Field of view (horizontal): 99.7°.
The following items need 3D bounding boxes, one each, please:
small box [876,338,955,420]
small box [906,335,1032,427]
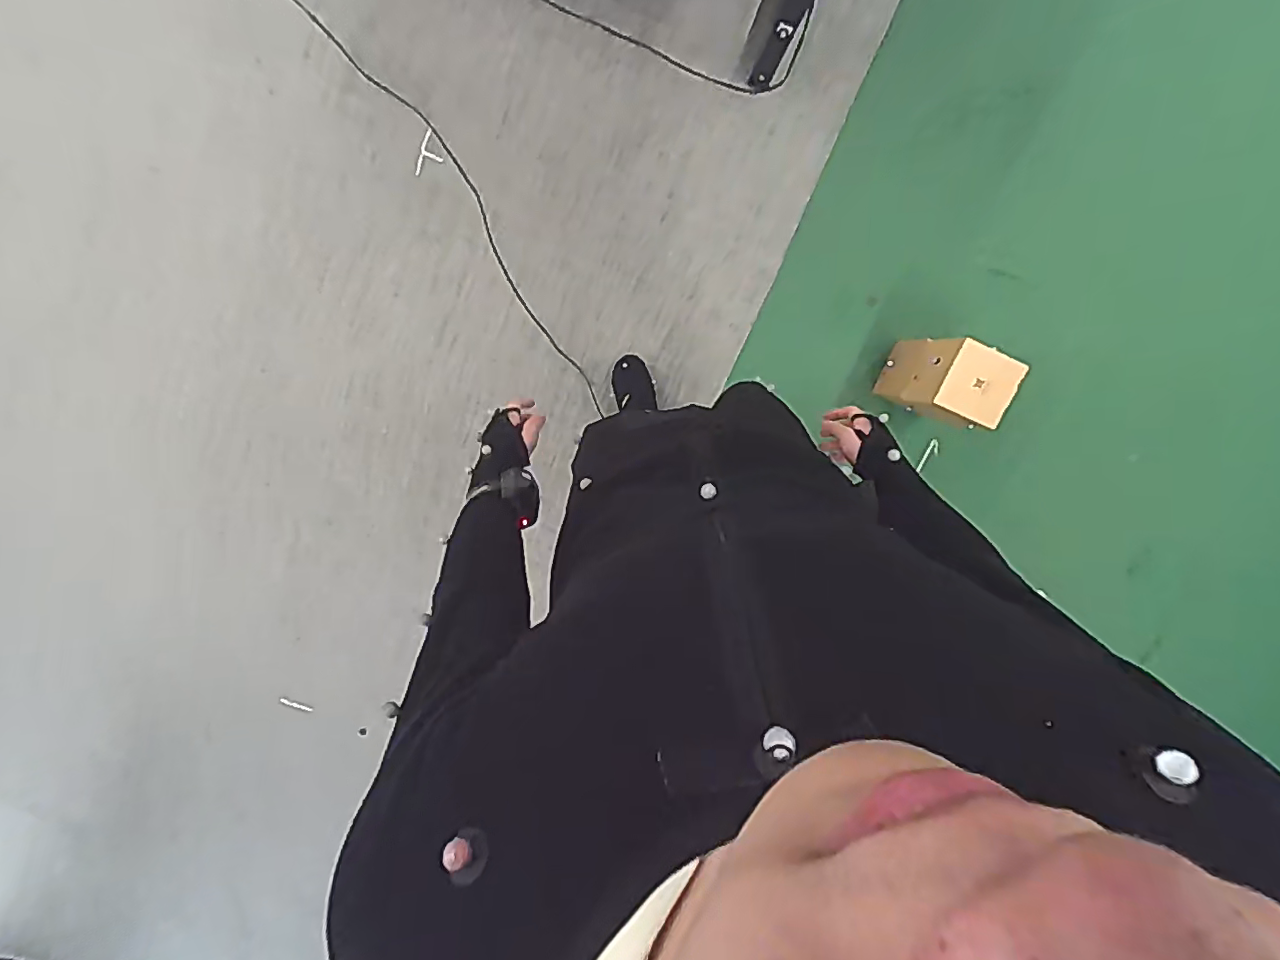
[{"bbox_3d":[0.800,-0.284,1.500,0.179,0.176,0.168,22,101,-6],"label":"small box"},{"bbox_3d":[0.803,-0.245,1.343,0.179,0.176,0.168,21,101,-7],"label":"small box"}]
